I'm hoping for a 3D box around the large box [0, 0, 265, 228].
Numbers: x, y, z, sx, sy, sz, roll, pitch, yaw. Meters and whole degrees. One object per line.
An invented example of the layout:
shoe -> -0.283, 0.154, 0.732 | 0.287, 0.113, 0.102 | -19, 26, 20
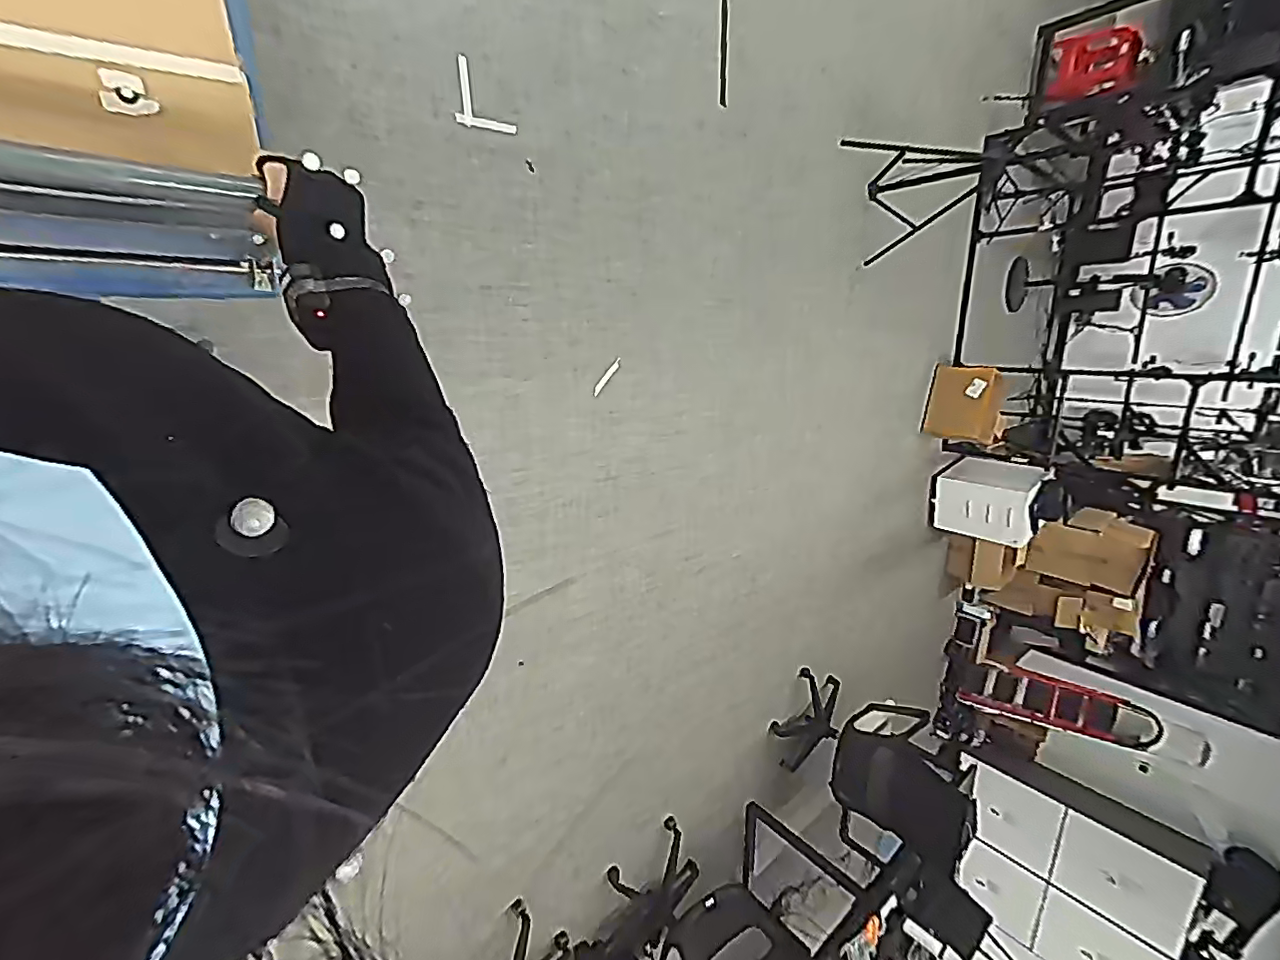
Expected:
large box -> -0.826, -0.551, 0.761 | 0.408, 0.320, 0.320 | -18, 113, -39
